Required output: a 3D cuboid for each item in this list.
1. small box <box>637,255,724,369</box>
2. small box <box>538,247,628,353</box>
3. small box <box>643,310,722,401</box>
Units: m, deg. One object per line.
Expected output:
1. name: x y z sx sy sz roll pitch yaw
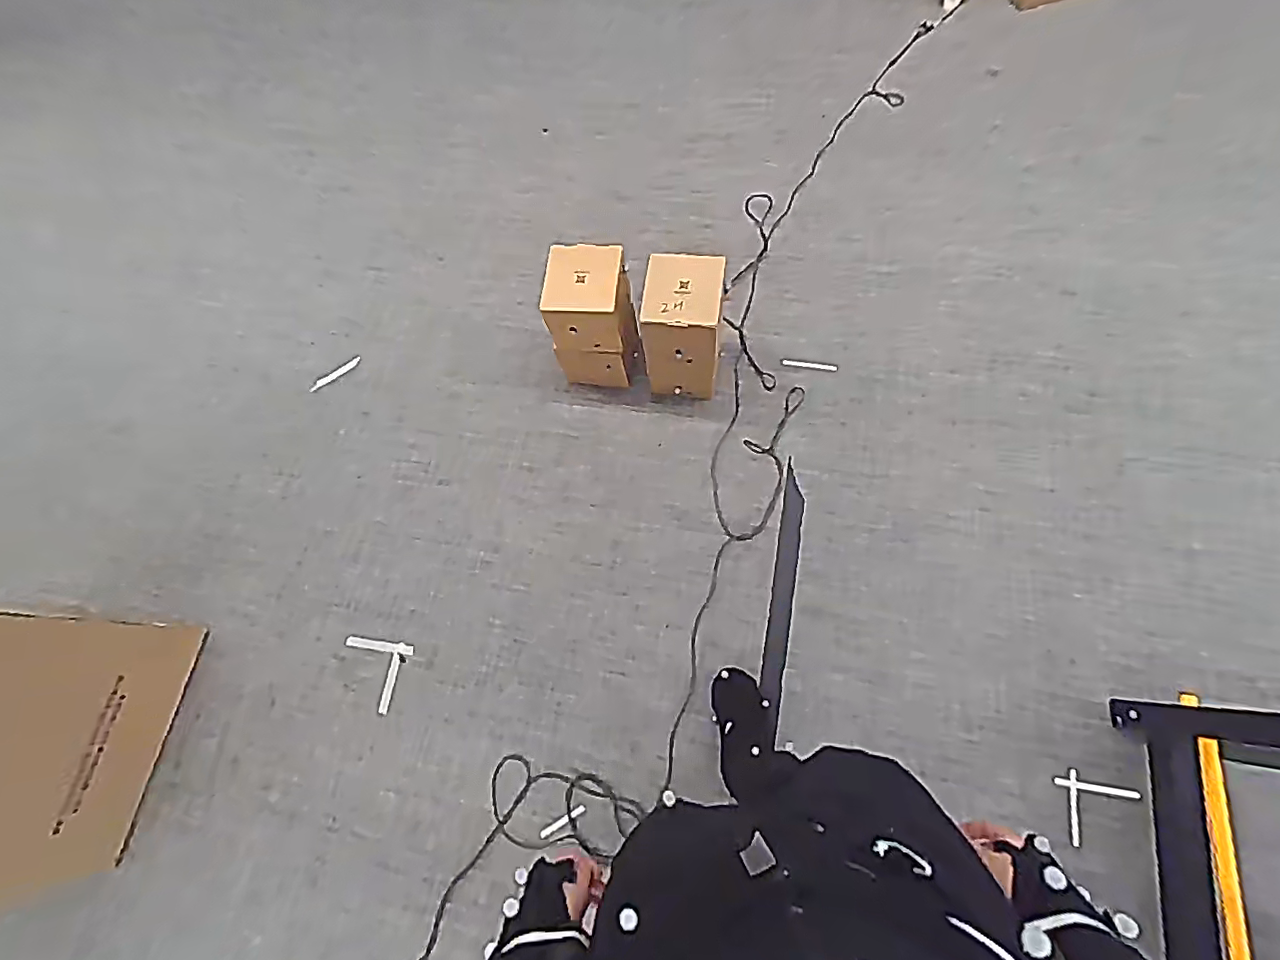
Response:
1. small box: 0.094 -0.374 1.214 0.168 0.176 0.179 7 73 9
2. small box: -0.124 -0.411 1.253 0.168 0.176 0.179 3 71 7
3. small box: 0.109 -0.323 1.371 0.168 0.176 0.179 8 74 9
